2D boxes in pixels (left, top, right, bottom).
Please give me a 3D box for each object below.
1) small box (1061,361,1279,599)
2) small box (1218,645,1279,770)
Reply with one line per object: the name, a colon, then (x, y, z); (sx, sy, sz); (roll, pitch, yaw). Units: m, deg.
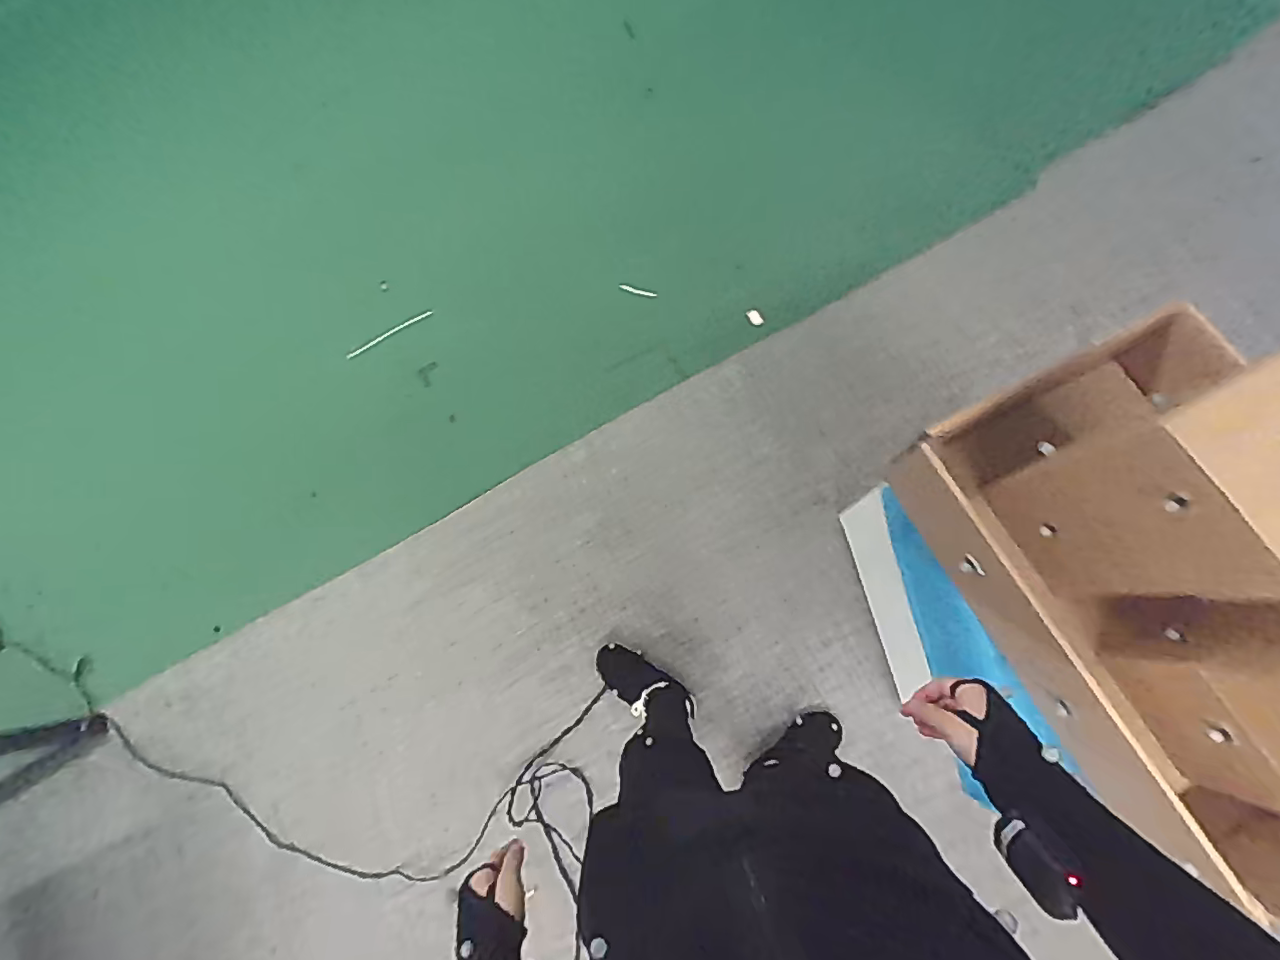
small box: (0.590, 0.008, 0.546); (0.168, 0.176, 0.179); (-28, 76, 0)
small box: (0.707, 0.225, 0.481); (0.168, 0.176, 0.179); (-26, 74, 0)
